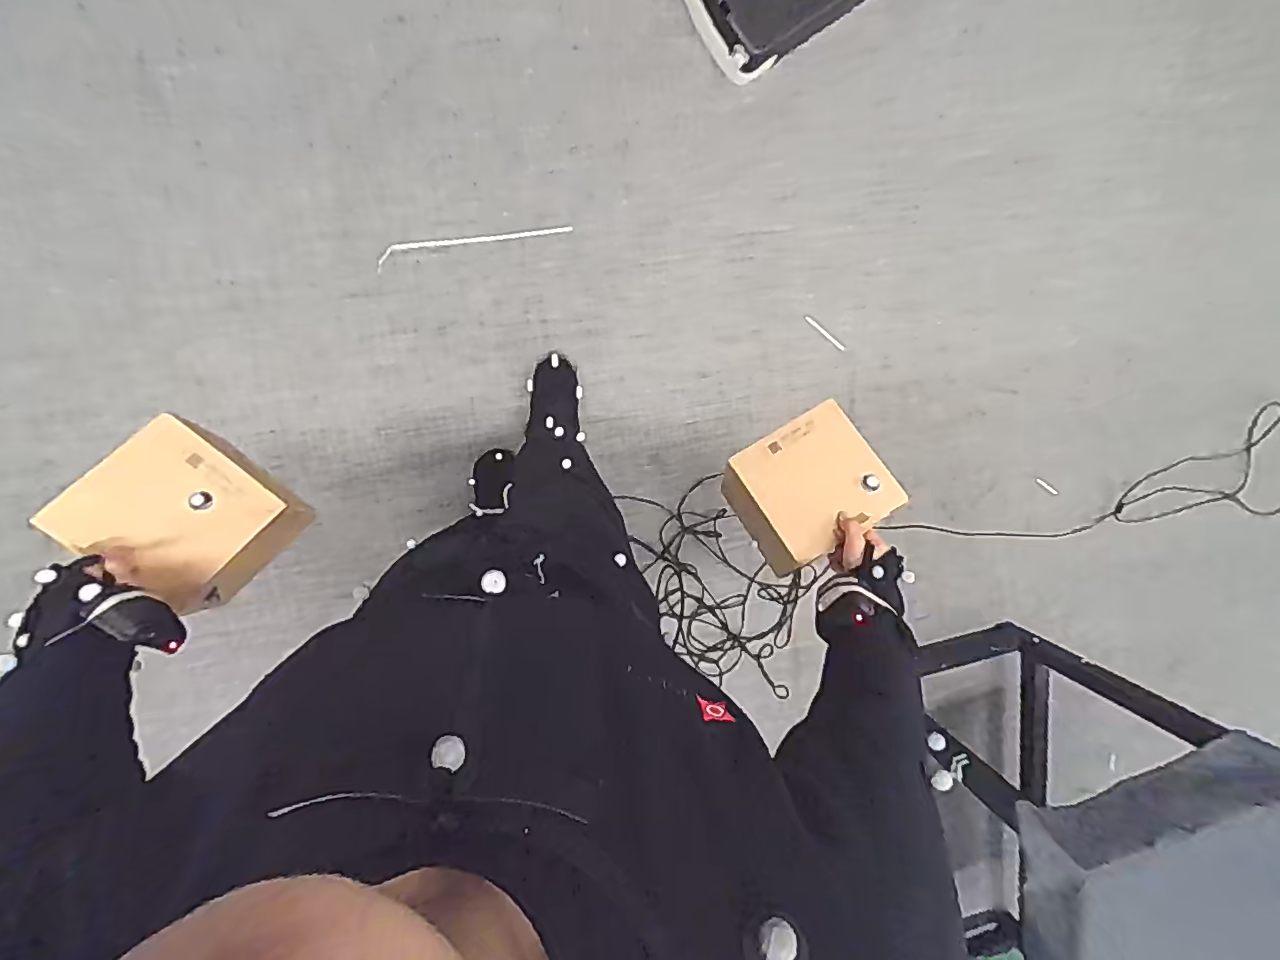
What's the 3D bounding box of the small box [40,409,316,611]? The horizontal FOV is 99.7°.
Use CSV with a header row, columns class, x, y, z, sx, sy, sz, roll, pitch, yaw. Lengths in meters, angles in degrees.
class,x,y,z,sx,sy,sz,roll,pitch,yaw
small box,-0.544,0.037,0.678,0.168,0.179,0.176,43,72,-11
